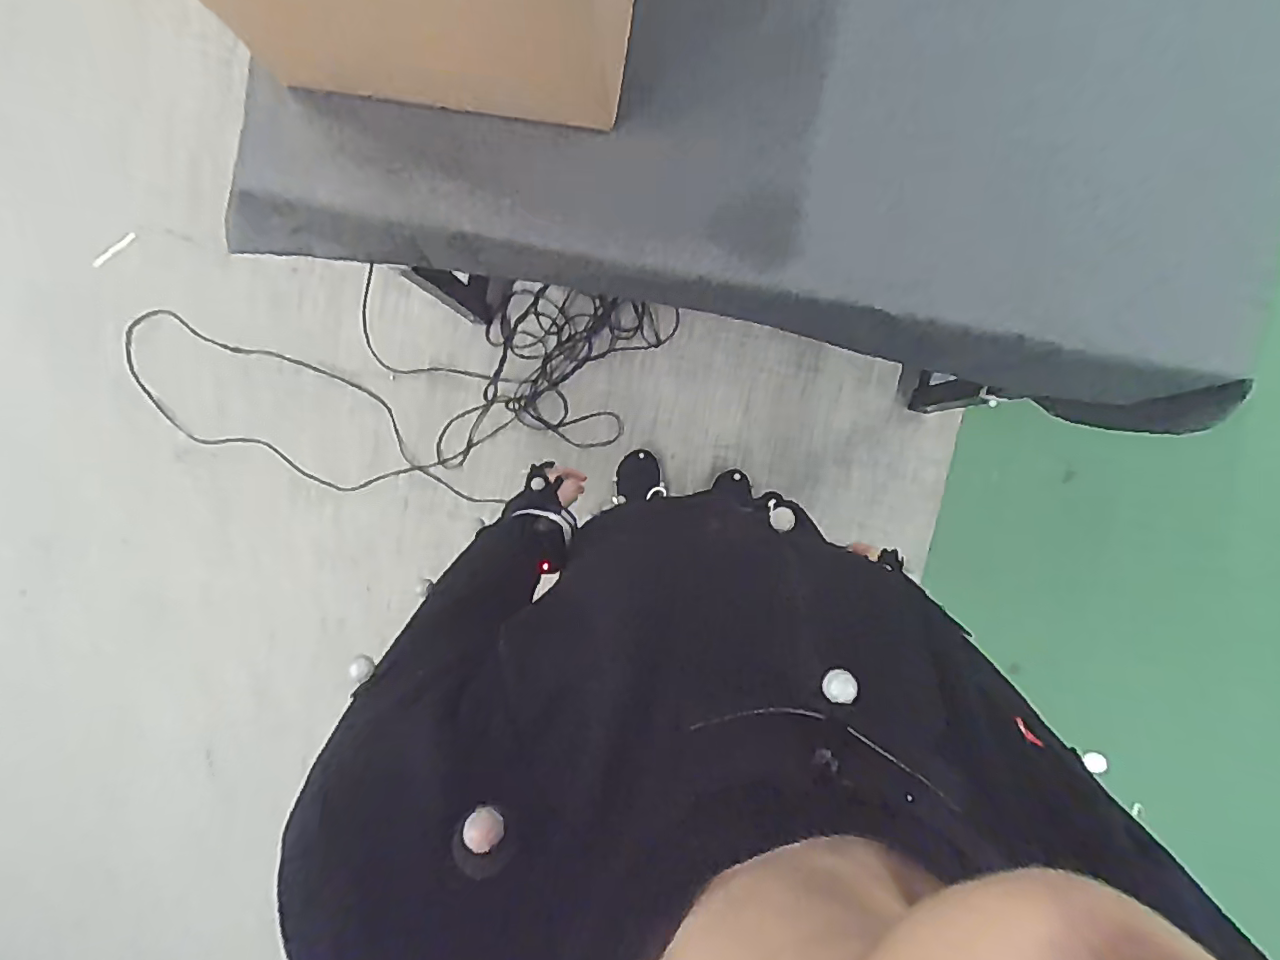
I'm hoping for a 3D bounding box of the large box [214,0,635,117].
[{"bbox_3d":[-0.202,-0.586,0.475,0.408,0.320,0.320,8,94,1],"label":"large box"}]
